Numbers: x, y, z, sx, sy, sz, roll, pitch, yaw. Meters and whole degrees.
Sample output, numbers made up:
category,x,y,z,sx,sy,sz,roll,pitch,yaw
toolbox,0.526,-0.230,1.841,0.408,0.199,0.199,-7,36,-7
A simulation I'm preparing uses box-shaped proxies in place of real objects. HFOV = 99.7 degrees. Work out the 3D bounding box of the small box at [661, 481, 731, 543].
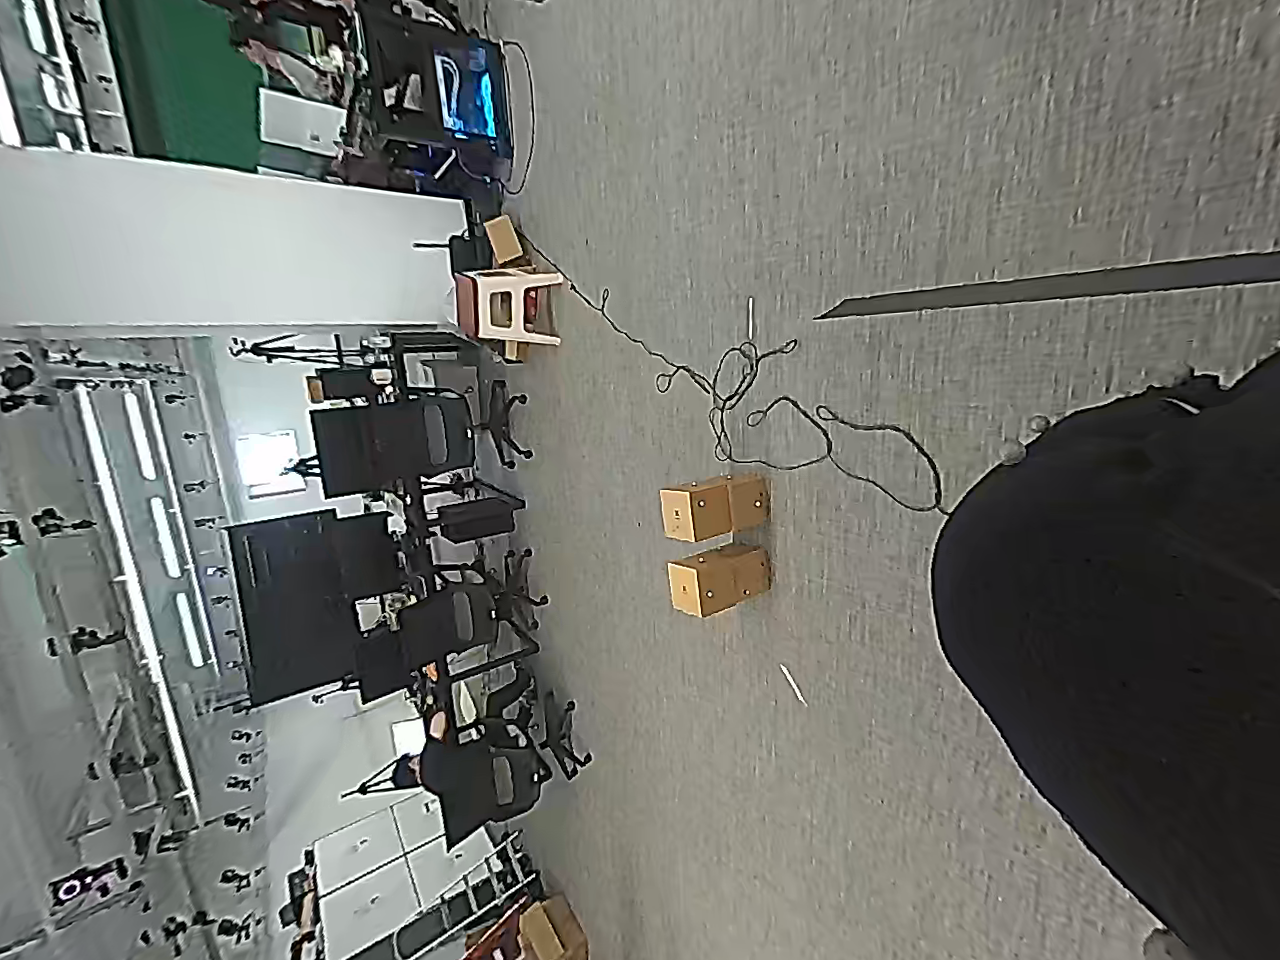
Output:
category,x,y,z,sx,sy,sz,roll,pitch,yaw
small box,0.196,0.104,1.878,0.168,0.176,0.179,5,105,57

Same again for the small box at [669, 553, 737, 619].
category,x,y,z,sx,sy,sz,roll,pitch,yaw
small box,0.226,0.368,1.925,0.168,0.176,0.179,3,103,57

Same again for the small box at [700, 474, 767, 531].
category,x,y,z,sx,sy,sz,roll,pitch,yaw
small box,0.338,0.075,1.958,0.179,0.176,0.168,8,108,55
